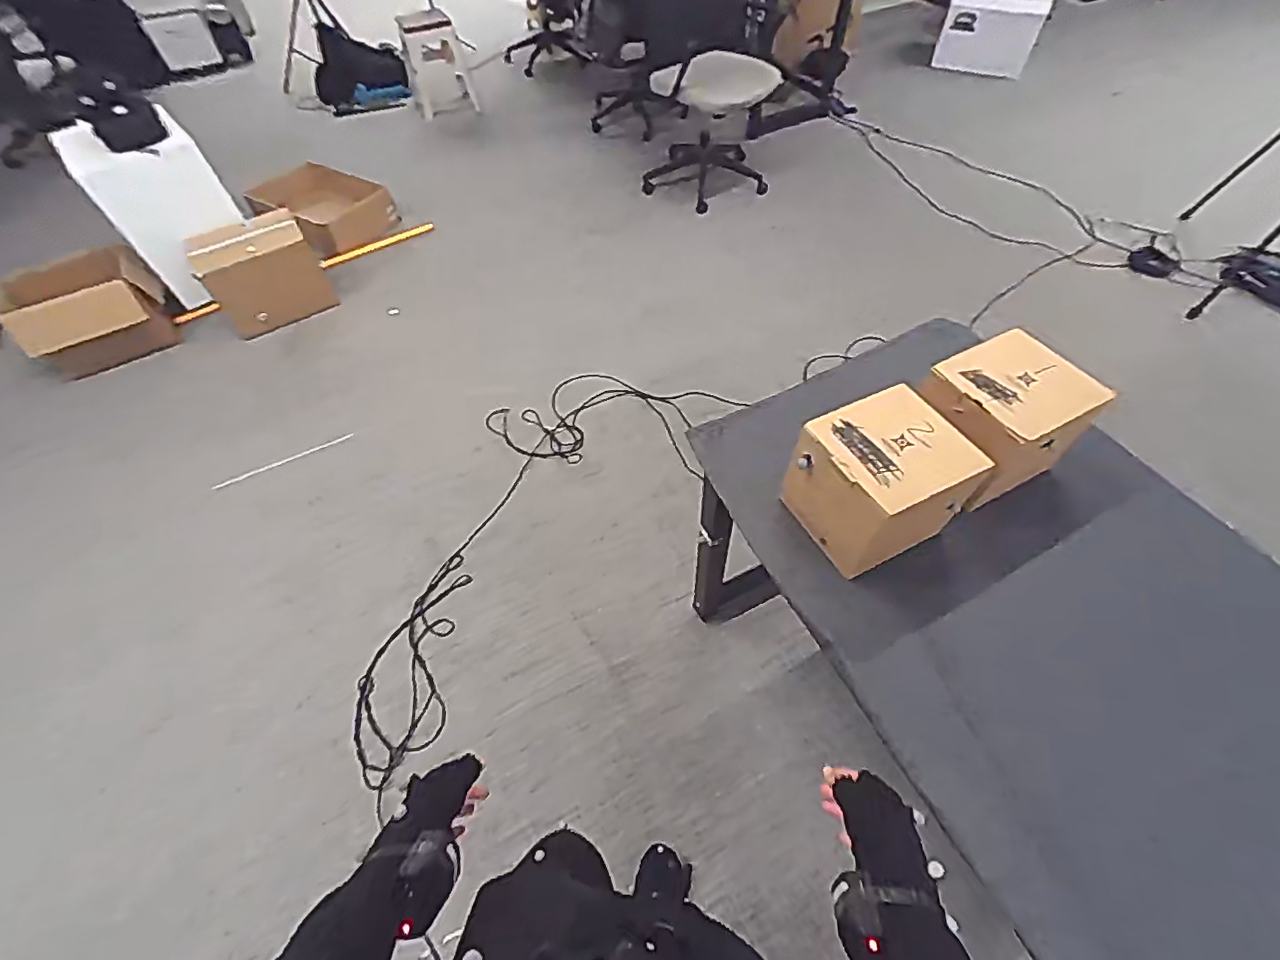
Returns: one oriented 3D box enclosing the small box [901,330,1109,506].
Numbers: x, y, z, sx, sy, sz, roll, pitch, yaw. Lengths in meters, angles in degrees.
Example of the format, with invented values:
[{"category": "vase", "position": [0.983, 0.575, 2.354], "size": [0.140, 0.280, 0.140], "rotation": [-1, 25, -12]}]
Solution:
[{"category": "small box", "position": [0.527, -0.089, 0.817], "size": [0.179, 0.176, 0.168], "rotation": [-24, 57, -14]}]
